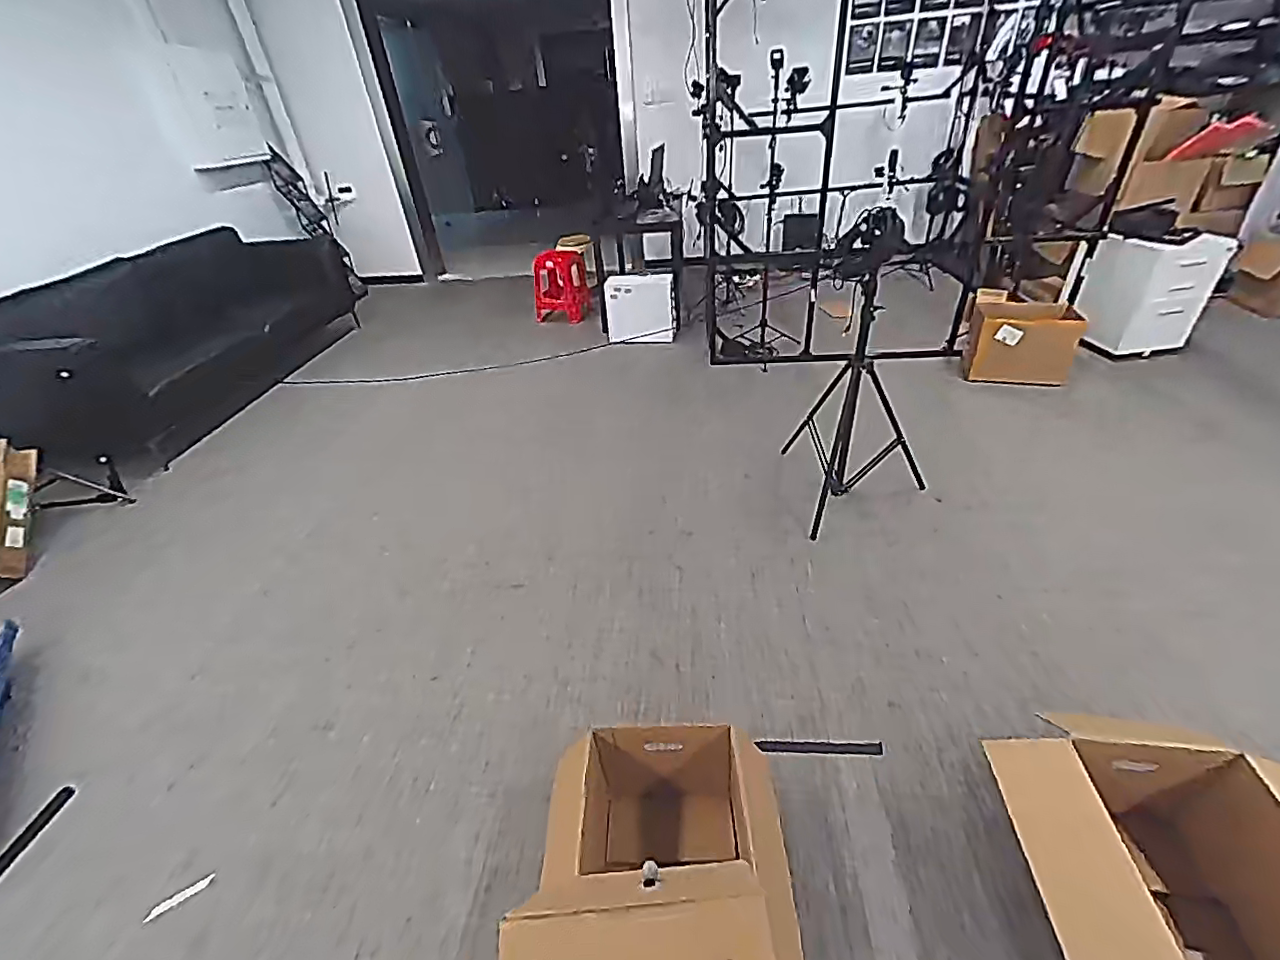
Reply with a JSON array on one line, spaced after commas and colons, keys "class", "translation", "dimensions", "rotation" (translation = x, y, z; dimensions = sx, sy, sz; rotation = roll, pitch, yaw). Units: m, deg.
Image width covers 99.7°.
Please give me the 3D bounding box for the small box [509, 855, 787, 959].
[{"class": "small box", "translation": [0.015, 0.378, 0.380], "dimensions": [0.179, 0.176, 0.168], "rotation": [-7, 61, 2]}]
